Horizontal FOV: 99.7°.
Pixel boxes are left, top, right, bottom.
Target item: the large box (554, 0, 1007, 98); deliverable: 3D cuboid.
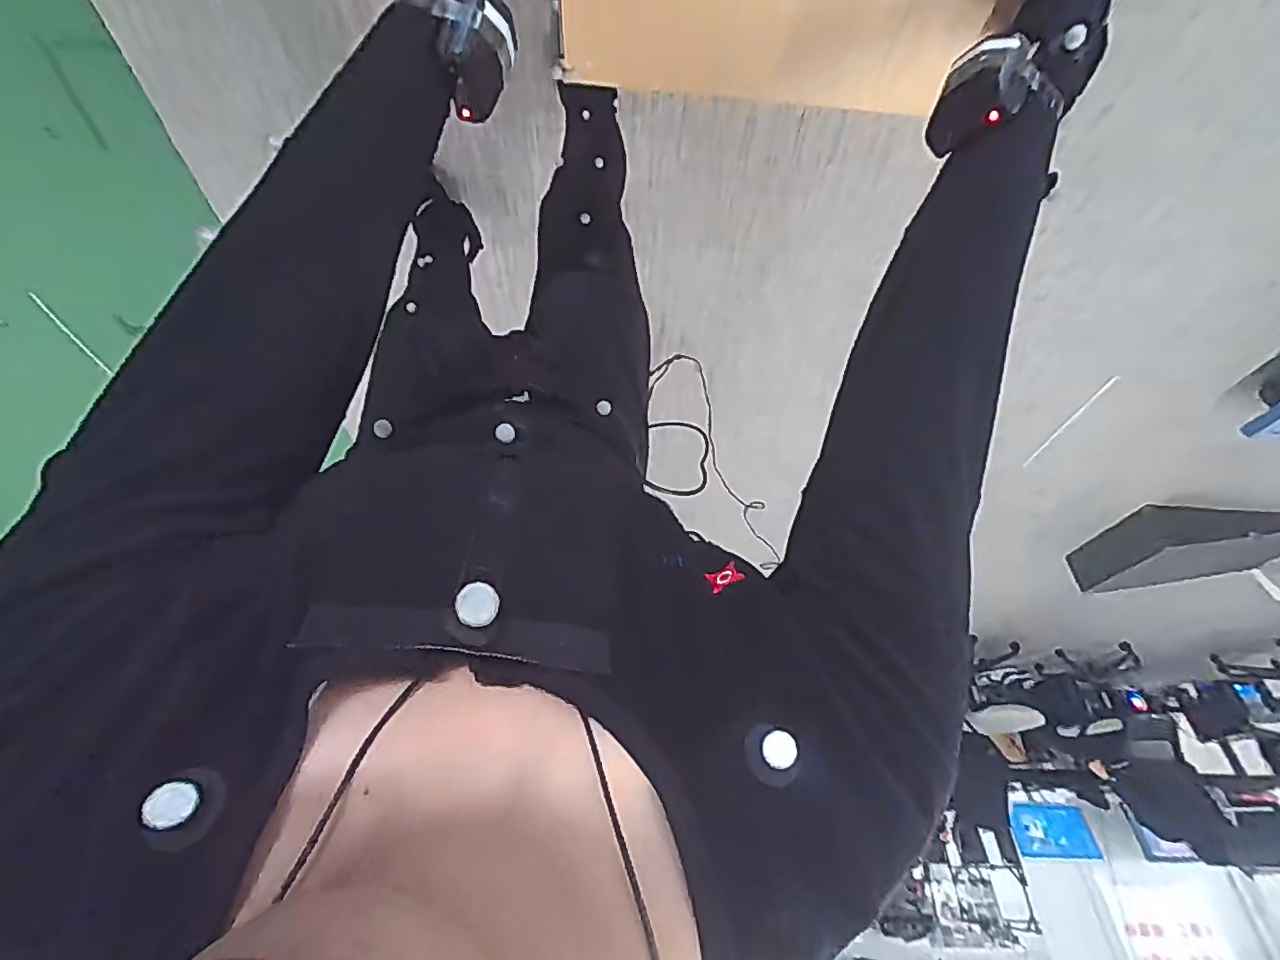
[{"bbox_3d":[0.135,-0.596,0.466,0.408,0.320,0.320,4,153,-2],"label":"large box"}]
